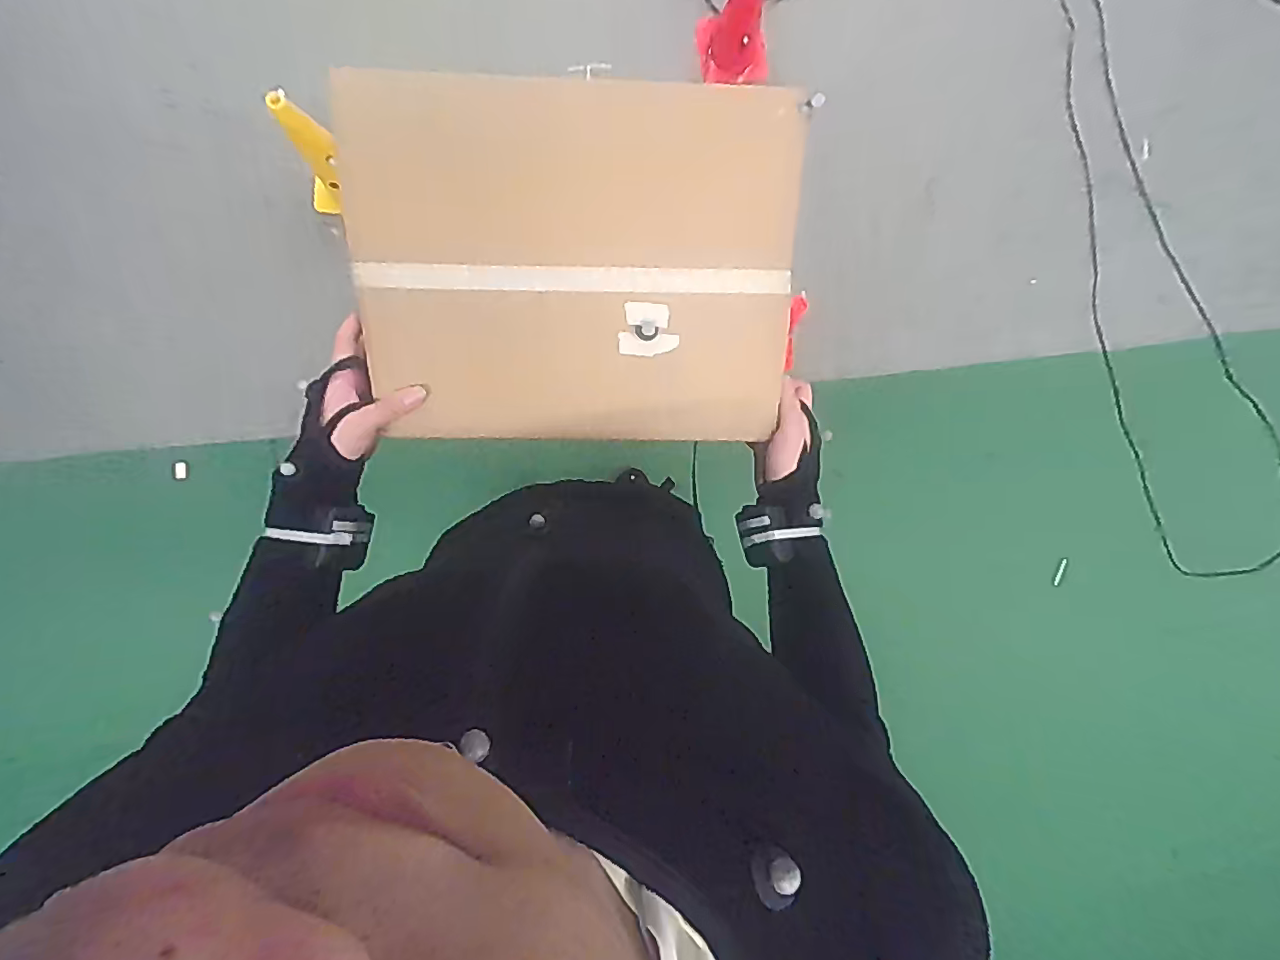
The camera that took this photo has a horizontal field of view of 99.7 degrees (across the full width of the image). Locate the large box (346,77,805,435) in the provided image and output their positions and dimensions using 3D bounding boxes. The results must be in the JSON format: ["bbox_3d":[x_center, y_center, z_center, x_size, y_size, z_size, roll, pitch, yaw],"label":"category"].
[{"bbox_3d":[-0.063,-0.242,0.653,0.408,0.320,0.320,0,110,-4],"label":"large box"}]

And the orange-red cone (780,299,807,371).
[{"bbox_3d":[0.376,-0.427,1.474,0.199,0.360,0.198,2,92,-4],"label":"orange-red cone"}]
